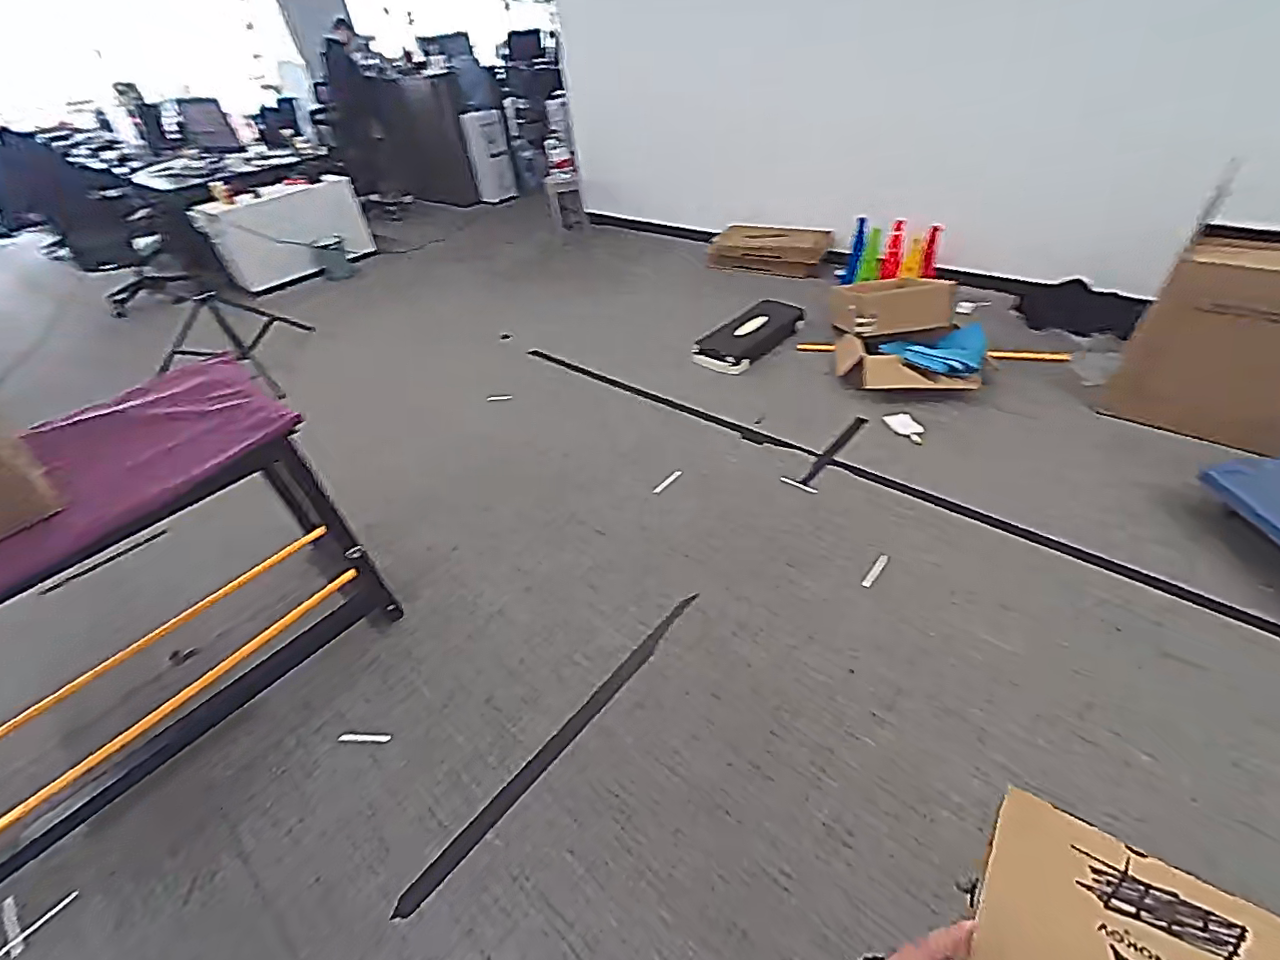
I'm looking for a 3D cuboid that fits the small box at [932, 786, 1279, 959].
[{"bbox_3d":[0.306,0.375,0.379,0.168,0.176,0.179,17,34,35],"label":"small box"}]
